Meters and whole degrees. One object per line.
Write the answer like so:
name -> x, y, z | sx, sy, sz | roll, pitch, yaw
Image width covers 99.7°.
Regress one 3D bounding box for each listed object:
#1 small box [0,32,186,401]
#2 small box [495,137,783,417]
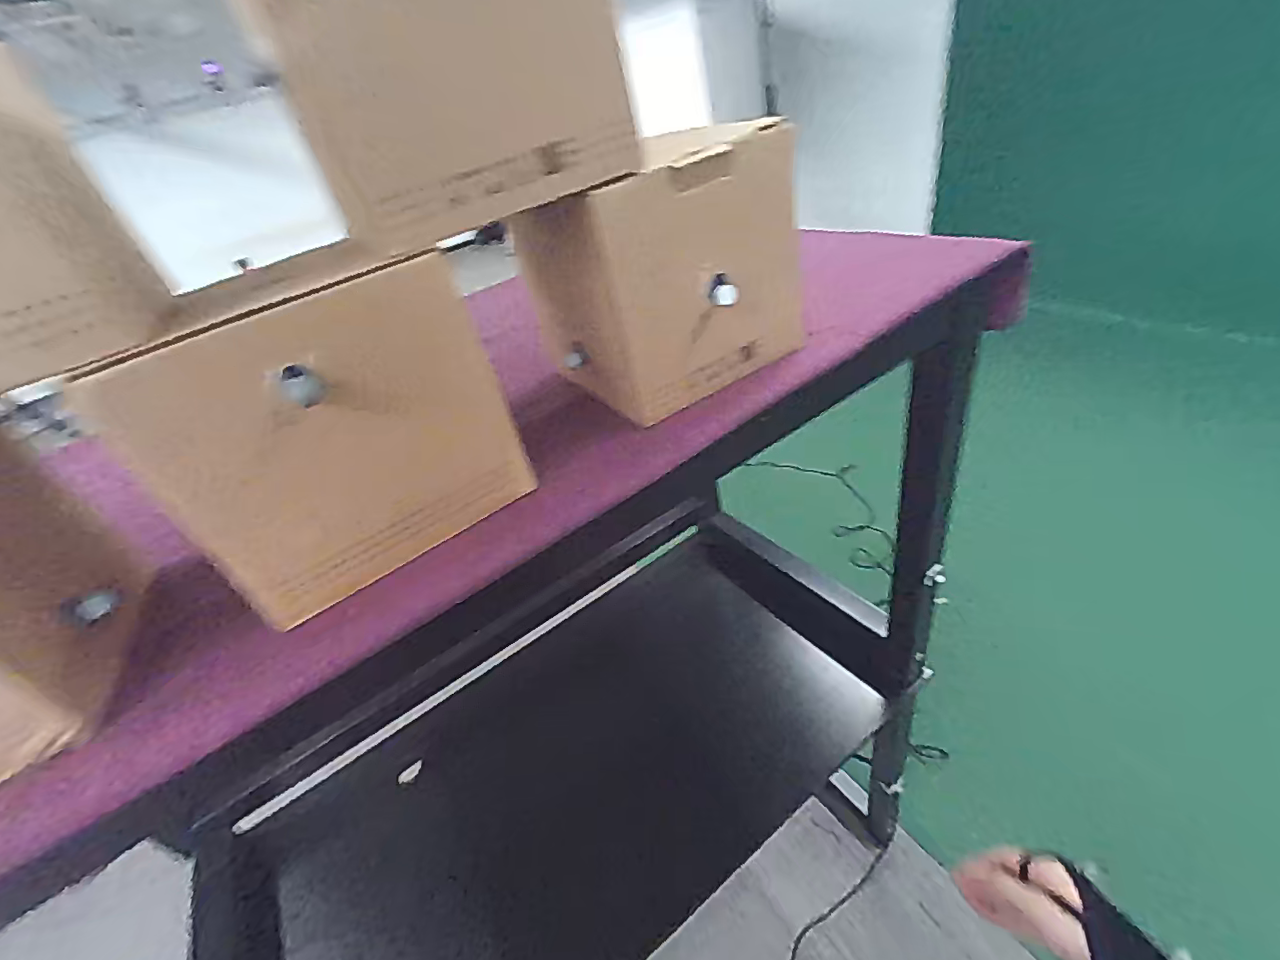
small box -> -0.352, -0.121, 0.243 | 0.168, 0.176, 0.179 | -30, 36, -21
small box -> 0.005, -0.174, 0.465 | 0.168, 0.176, 0.179 | -29, 38, -19
